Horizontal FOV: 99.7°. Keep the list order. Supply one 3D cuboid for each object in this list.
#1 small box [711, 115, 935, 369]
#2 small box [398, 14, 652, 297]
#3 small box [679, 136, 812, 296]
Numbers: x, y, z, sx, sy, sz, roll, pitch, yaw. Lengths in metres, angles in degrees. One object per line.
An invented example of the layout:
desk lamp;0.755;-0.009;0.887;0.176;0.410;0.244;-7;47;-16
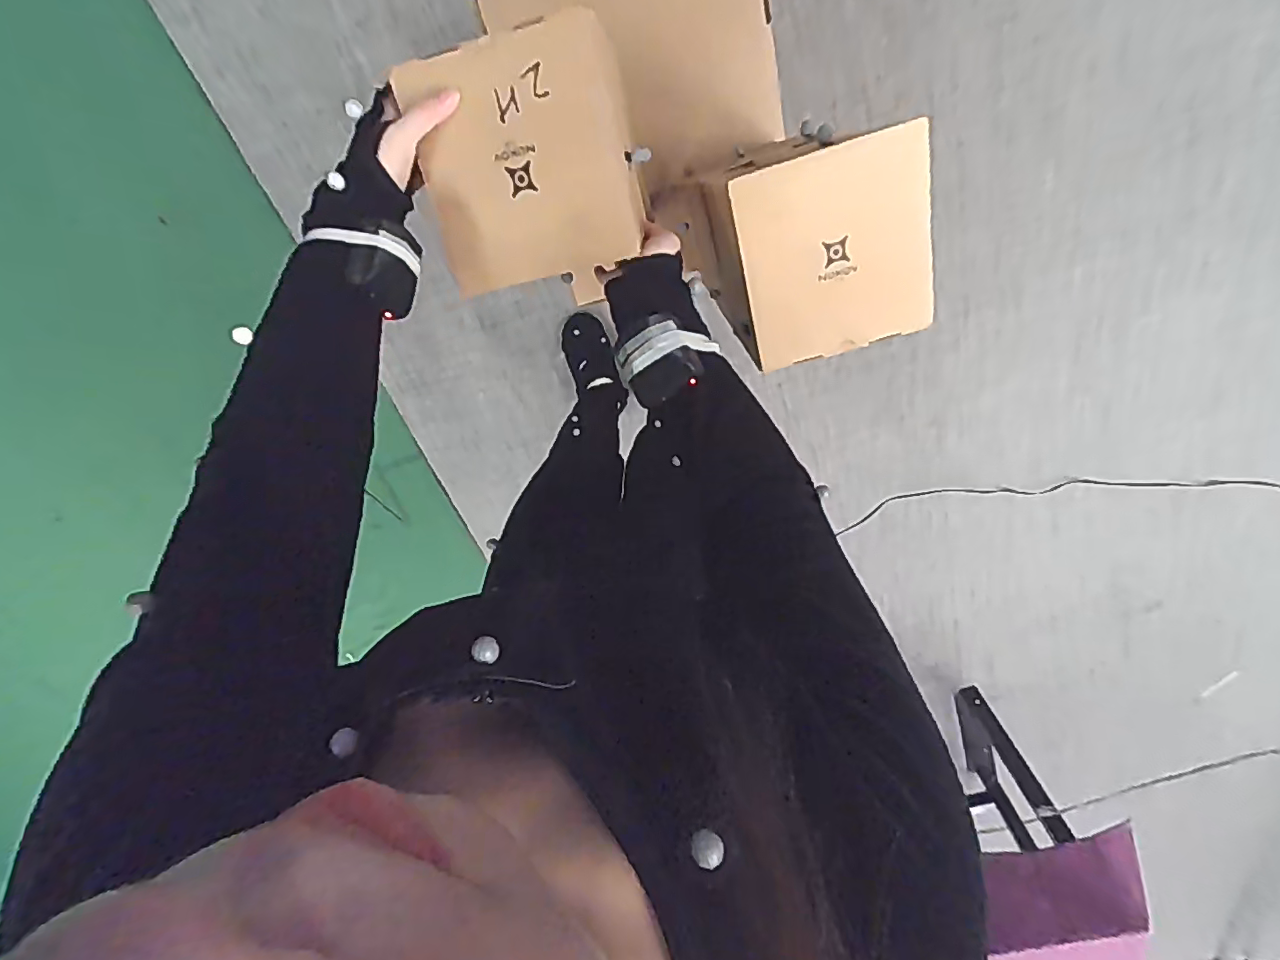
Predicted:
small box;0.176;-0.238;0.550;0.168;0.176;0.179;-15;119;7
small box;-0.086;-0.290;0.512;0.168;0.176;0.179;-9;116;9
small box;0.166;-0.405;0.831;0.179;0.176;0.168;-16;117;9
